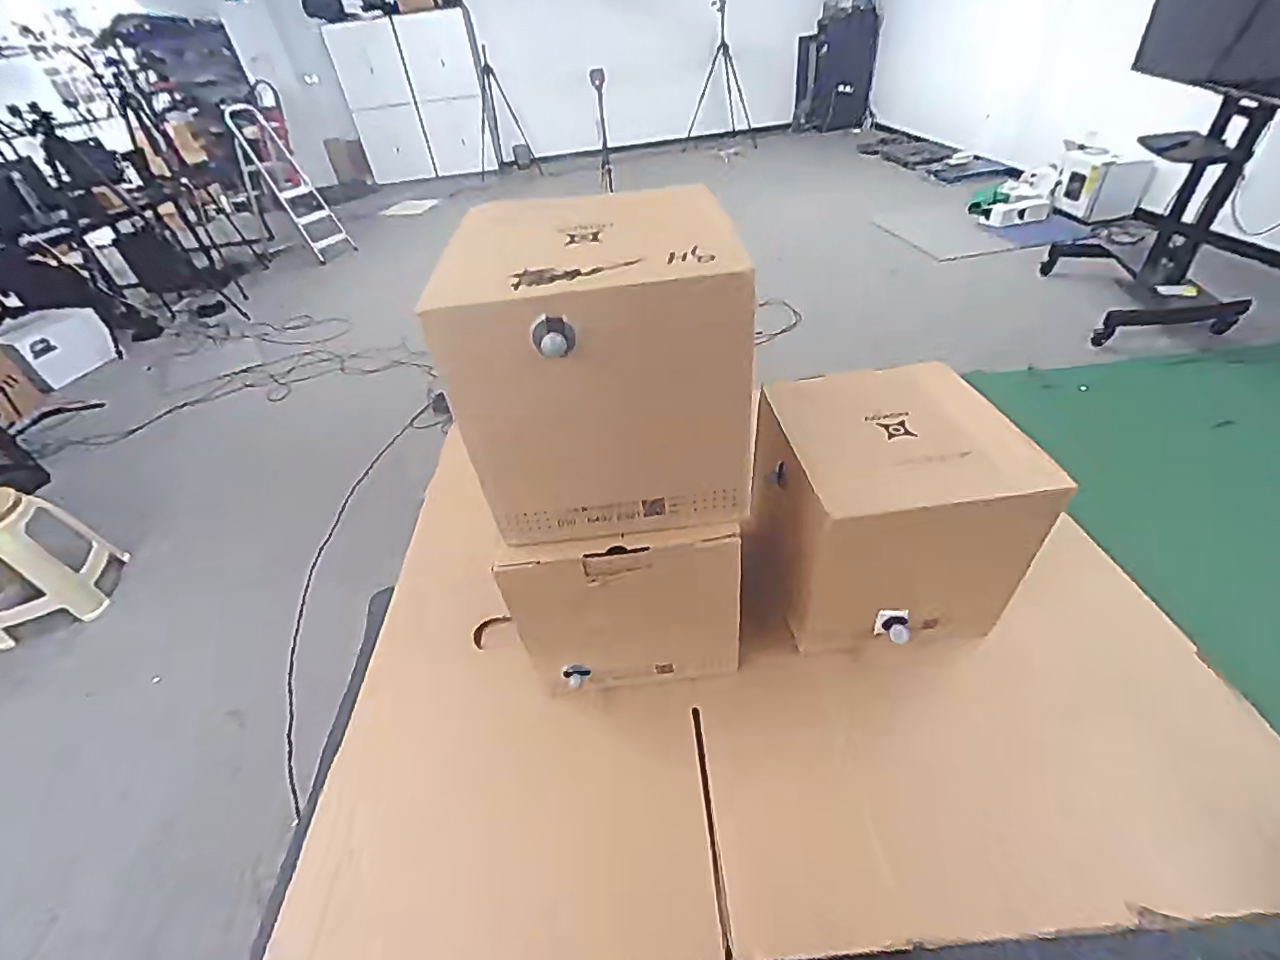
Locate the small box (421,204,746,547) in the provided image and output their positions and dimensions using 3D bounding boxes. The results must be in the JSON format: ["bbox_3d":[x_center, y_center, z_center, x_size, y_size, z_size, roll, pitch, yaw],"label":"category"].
[{"bbox_3d":[-0.025,-0.076,0.381,0.168,0.176,0.179,-7,39,2],"label":"small box"}]
